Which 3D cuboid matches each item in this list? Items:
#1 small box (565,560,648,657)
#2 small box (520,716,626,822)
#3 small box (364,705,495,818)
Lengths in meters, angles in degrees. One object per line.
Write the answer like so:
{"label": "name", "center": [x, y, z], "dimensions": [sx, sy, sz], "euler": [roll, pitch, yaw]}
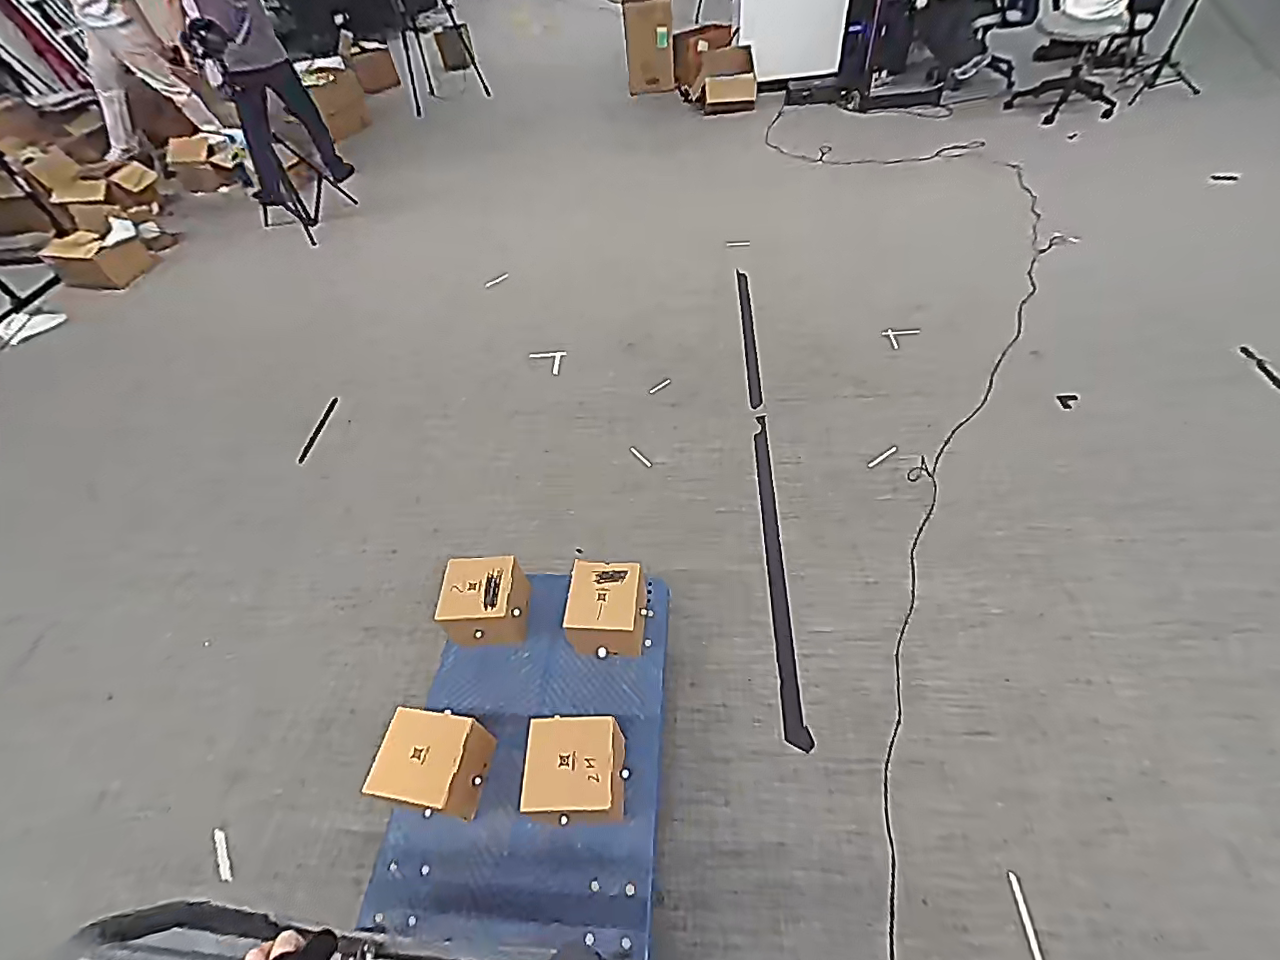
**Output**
{"label": "small box", "center": [-0.074, 0.317, 1.332], "dimensions": [0.168, 0.176, 0.179], "euler": [1, 52, 8]}
{"label": "small box", "center": [-0.128, 0.595, 1.109], "dimensions": [0.179, 0.176, 0.168], "euler": [-3, 51, 5]}
{"label": "small box", "center": [-0.434, 0.599, 1.147], "dimensions": [0.179, 0.176, 0.168], "euler": [6, 50, 9]}
